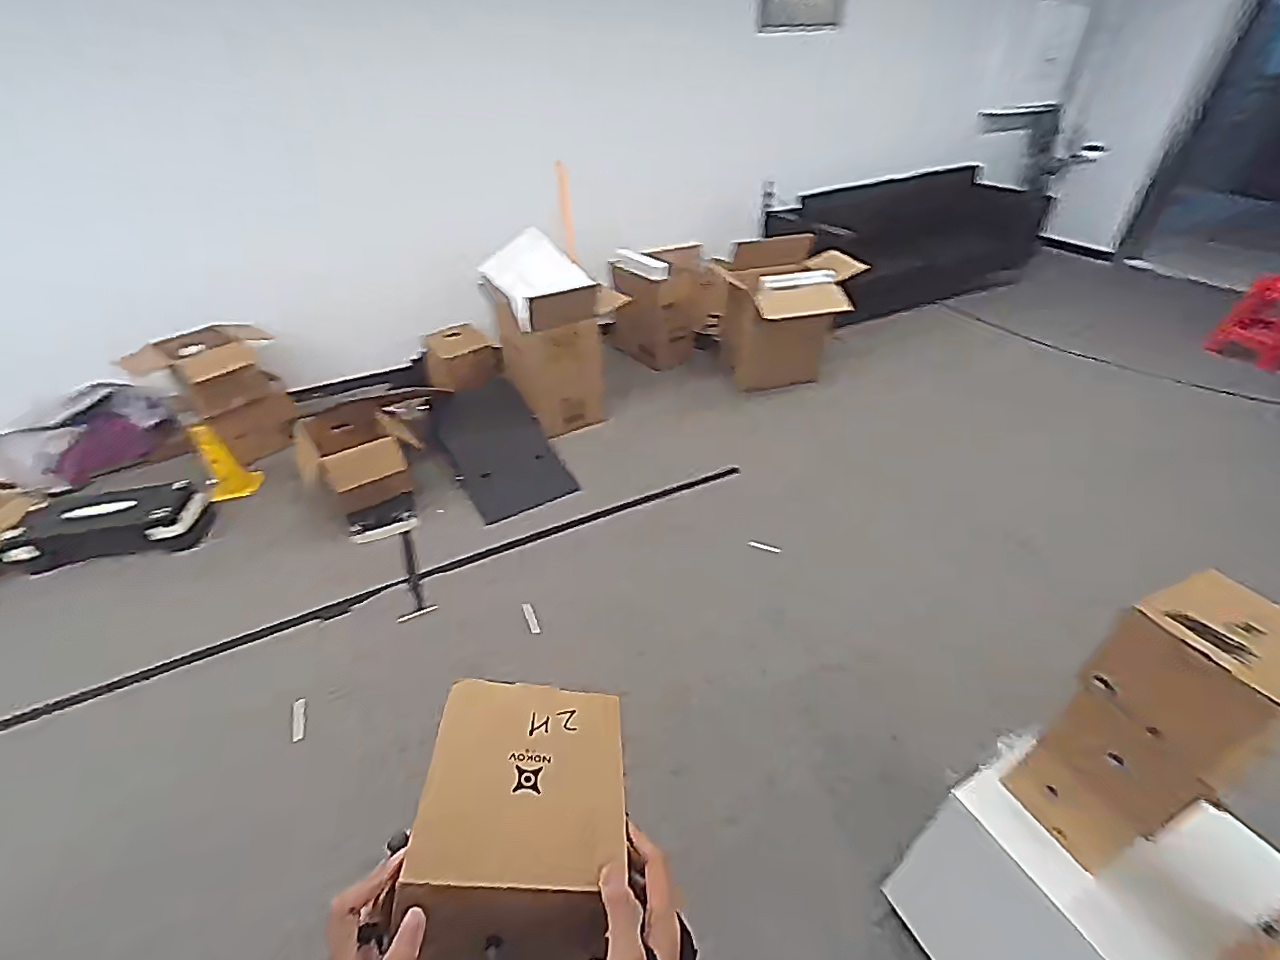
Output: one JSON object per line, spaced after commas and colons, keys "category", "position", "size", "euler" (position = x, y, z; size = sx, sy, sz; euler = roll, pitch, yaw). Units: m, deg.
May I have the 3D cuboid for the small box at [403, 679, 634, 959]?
{"category": "small box", "position": [-0.106, 0.317, 0.494], "size": [0.168, 0.176, 0.179], "euler": [12, 28, -11]}

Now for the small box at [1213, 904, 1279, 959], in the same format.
{"category": "small box", "position": [0.899, 0.683, 0.702], "size": [0.179, 0.176, 0.168], "euler": [-20, 40, -22]}

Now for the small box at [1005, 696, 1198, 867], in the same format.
{"category": "small box", "position": [0.770, 0.516, 0.927], "size": [0.179, 0.176, 0.168], "euler": [-18, 41, -20]}

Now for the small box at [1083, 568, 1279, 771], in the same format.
{"category": "small box", "position": [0.754, 0.254, 0.729], "size": [0.179, 0.176, 0.168], "euler": [-15, 40, -18]}
